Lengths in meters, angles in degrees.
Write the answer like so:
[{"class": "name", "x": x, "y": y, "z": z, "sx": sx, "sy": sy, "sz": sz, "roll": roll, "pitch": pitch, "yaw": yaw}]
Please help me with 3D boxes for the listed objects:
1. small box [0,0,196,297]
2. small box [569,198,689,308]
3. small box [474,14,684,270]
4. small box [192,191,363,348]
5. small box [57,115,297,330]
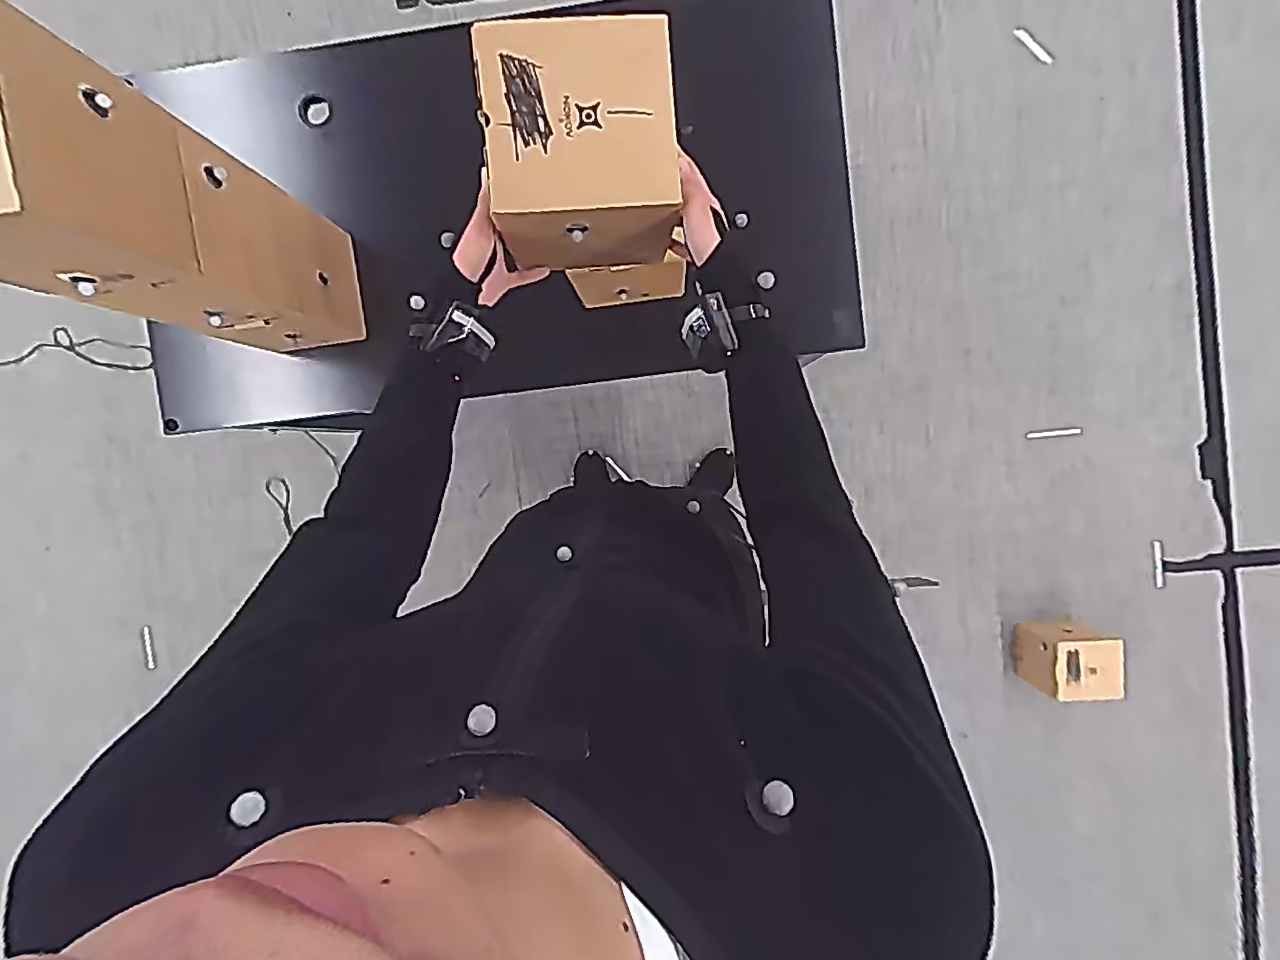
[{"class": "small box", "x": -0.566, "y": -0.289, "z": 0.500, "sx": 0.168, "sy": 0.176, "sz": 0.179, "roll": -8, "pitch": 93, "yaw": 4}, {"class": "small box", "x": -0.021, "y": -0.373, "z": 0.800, "sx": 0.168, "sy": 0.176, "sz": 0.179, "roll": -7, "pitch": 93, "yaw": 3}, {"class": "small box", "x": -0.057, "y": -0.326, "z": 0.555, "sx": 0.179, "sy": 0.176, "sz": 0.168, "roll": -5, "pitch": 94, "yaw": -4}, {"class": "small box", "x": -0.553, "y": -0.305, "z": 0.827, "sx": 0.168, "sy": 0.176, "sz": 0.179, "roll": -8, "pitch": 93, "yaw": 3}, {"class": "small box", "x": -0.561, "y": -0.298, "z": 0.662, "sx": 0.168, "sy": 0.176, "sz": 0.179, "roll": -7, "pitch": 93, "yaw": 3}]
